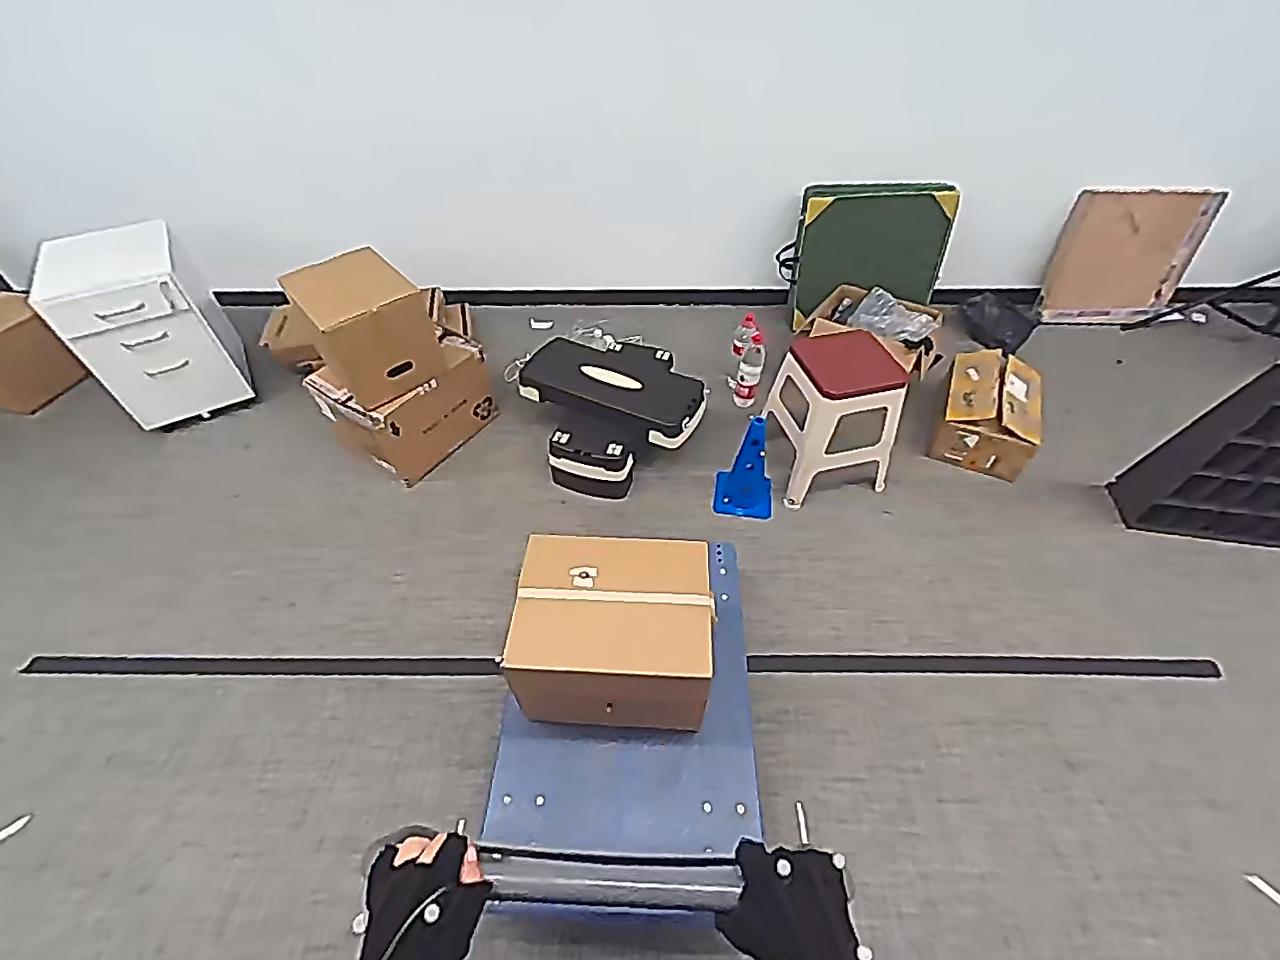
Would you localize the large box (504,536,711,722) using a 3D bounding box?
[{"bbox_3d":[-0.054,0.345,1.238,0.408,0.320,0.320,2,48,3],"label":"large box"}]
